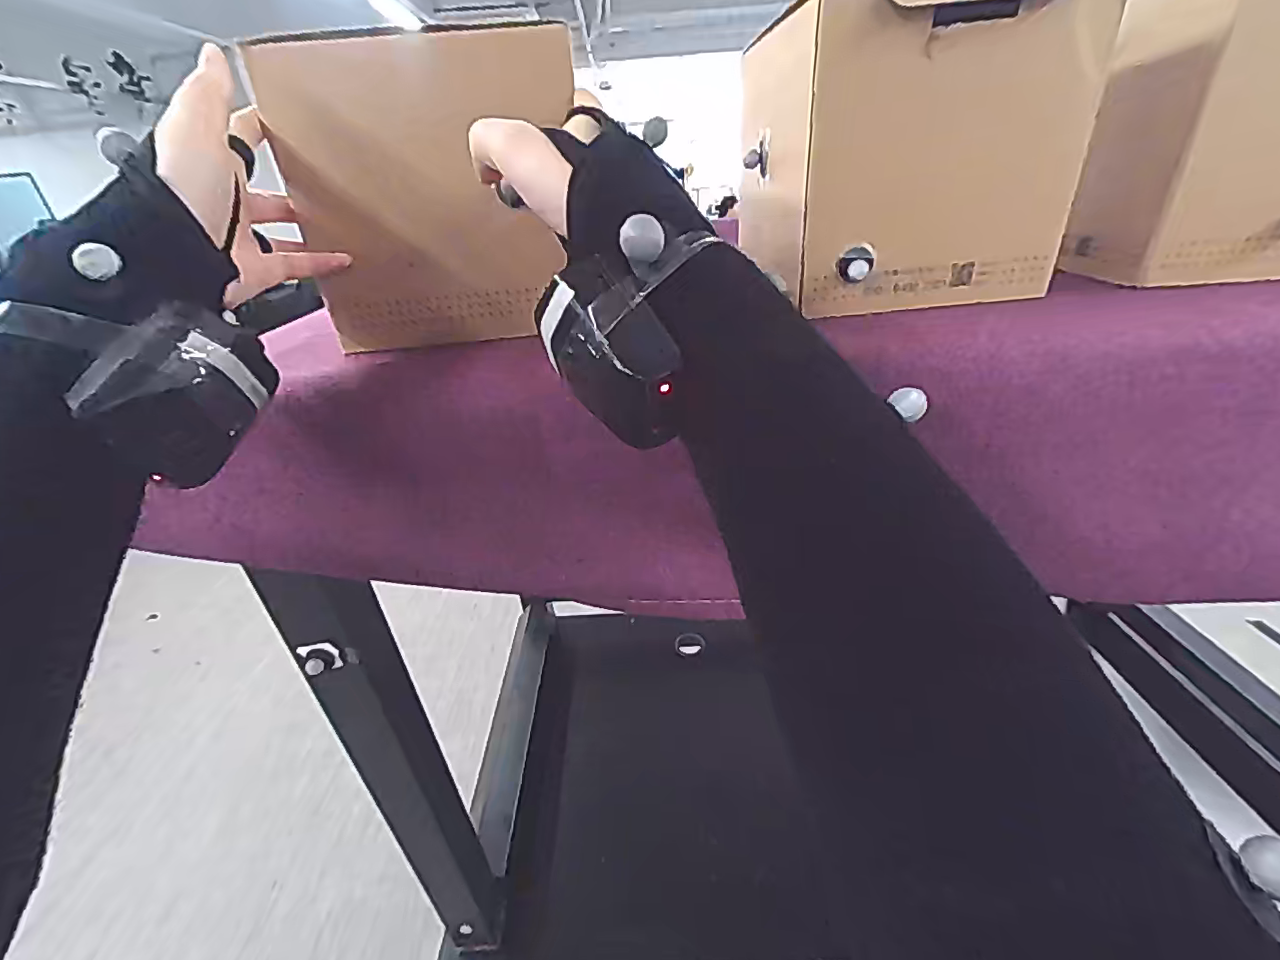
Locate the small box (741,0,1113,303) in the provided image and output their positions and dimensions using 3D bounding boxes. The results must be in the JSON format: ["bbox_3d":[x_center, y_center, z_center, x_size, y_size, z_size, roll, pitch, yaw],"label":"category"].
[{"bbox_3d":[0.170,-0.225,0.380,0.168,0.176,0.179,-5,29,-1],"label":"small box"}]

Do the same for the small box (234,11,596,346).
[{"bbox_3d":[-0.124,-0.204,0.388,0.179,0.176,0.168,-6,29,-3],"label":"small box"}]

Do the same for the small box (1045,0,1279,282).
[{"bbox_3d":[0.402,-0.238,0.369,0.179,0.176,0.168,-2,29,4],"label":"small box"}]
